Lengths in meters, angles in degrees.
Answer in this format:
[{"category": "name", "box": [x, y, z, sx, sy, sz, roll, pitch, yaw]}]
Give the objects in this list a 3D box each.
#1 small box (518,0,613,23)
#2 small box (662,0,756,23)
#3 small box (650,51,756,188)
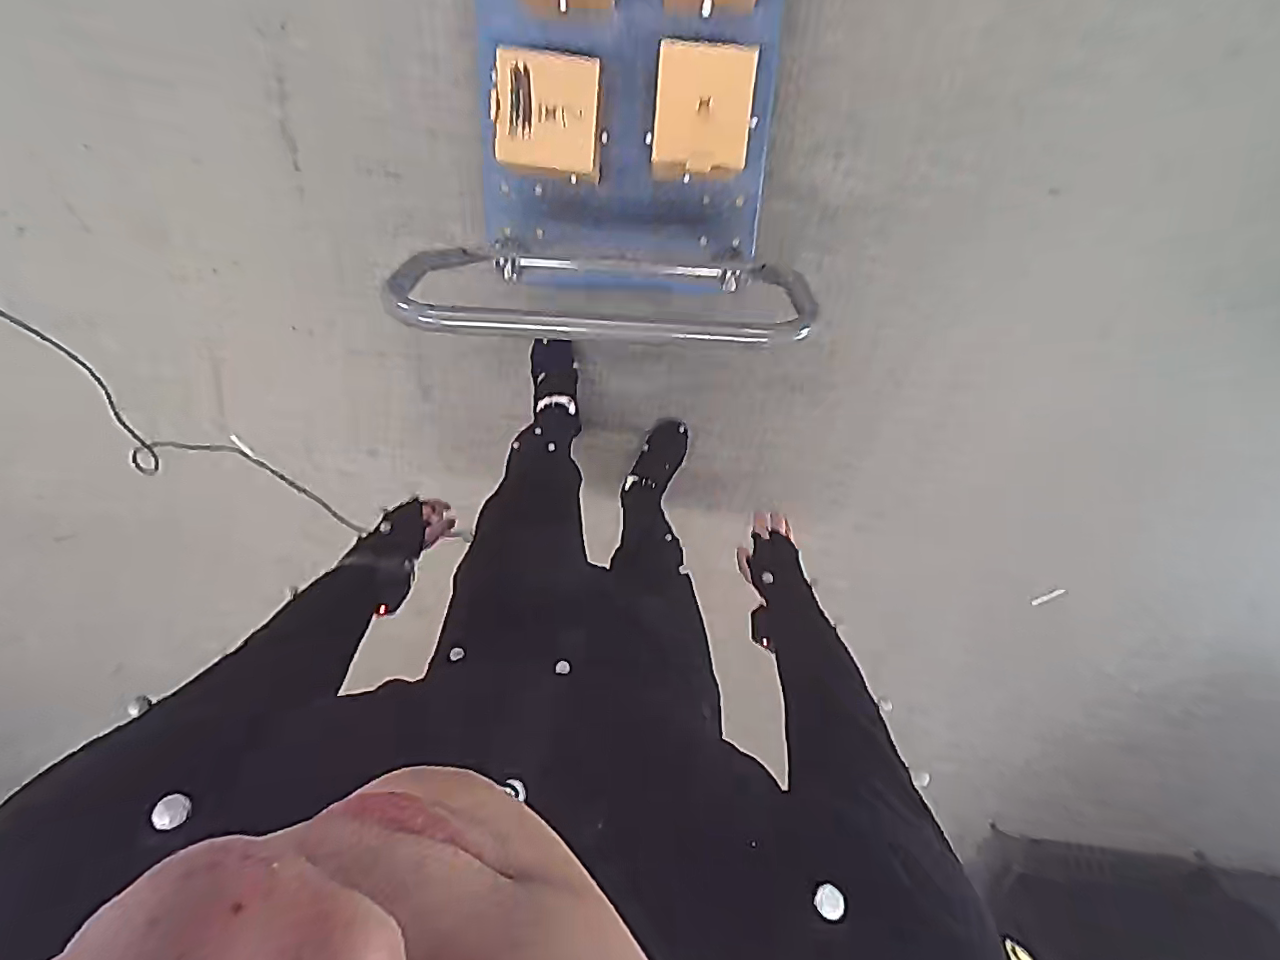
[{"category": "small box", "box": [-0.132, -0.908, 0.913, 0.168, 0.176, 0.179, 0, 111, 0]}, {"category": "small box", "box": [0.121, -0.911, 0.909, 0.168, 0.176, 0.179, 0, 113, 1]}, {"category": "small box", "box": [0.107, -0.660, 1.010, 0.168, 0.176, 0.179, 4, 112, -1]}]
